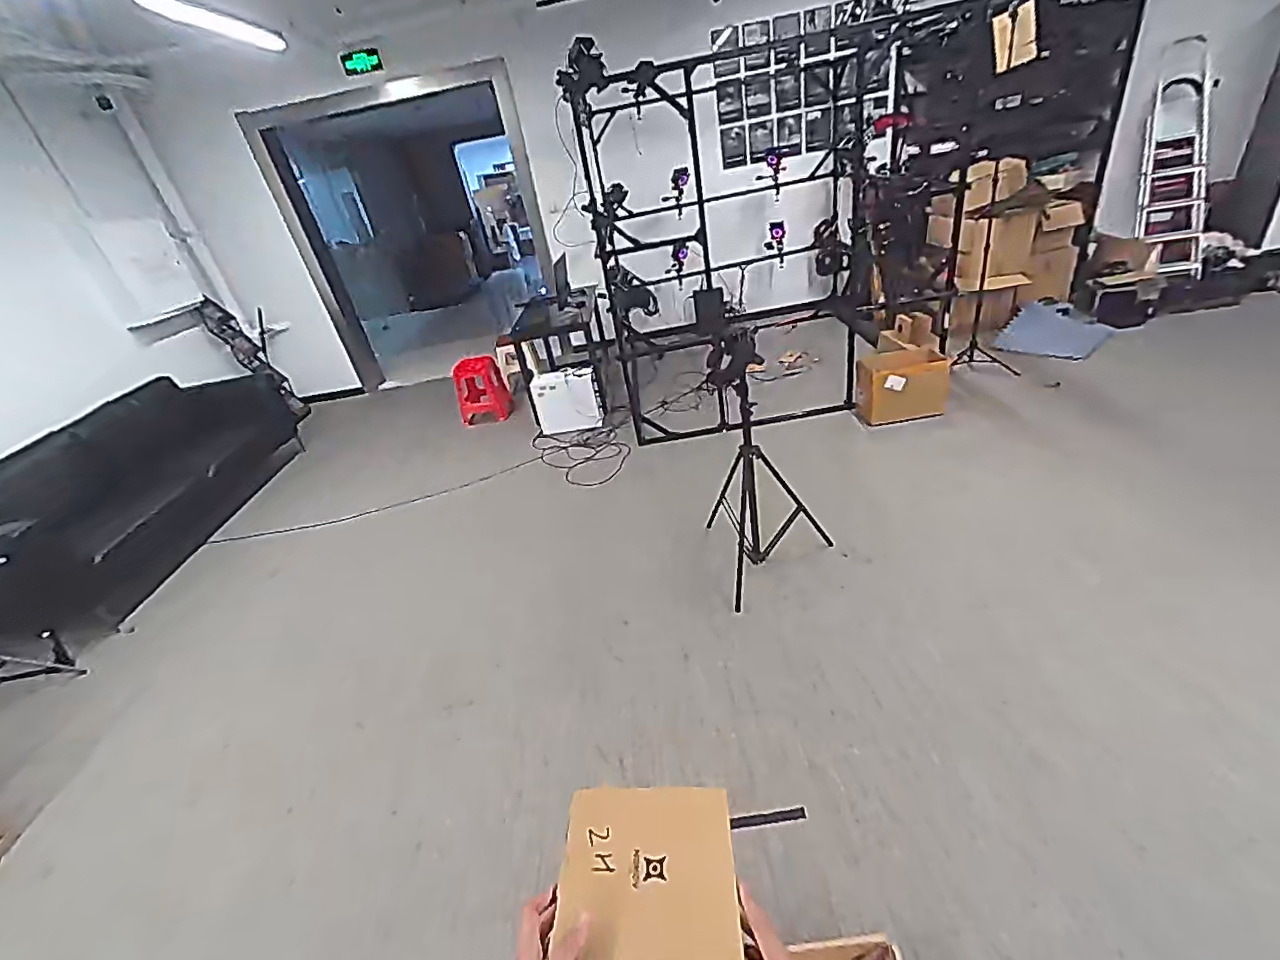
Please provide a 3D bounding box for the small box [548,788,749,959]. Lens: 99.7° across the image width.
[{"bbox_3d":[0.016,0.453,0.564,0.179,0.176,0.168,-4,26,5],"label":"small box"}]
